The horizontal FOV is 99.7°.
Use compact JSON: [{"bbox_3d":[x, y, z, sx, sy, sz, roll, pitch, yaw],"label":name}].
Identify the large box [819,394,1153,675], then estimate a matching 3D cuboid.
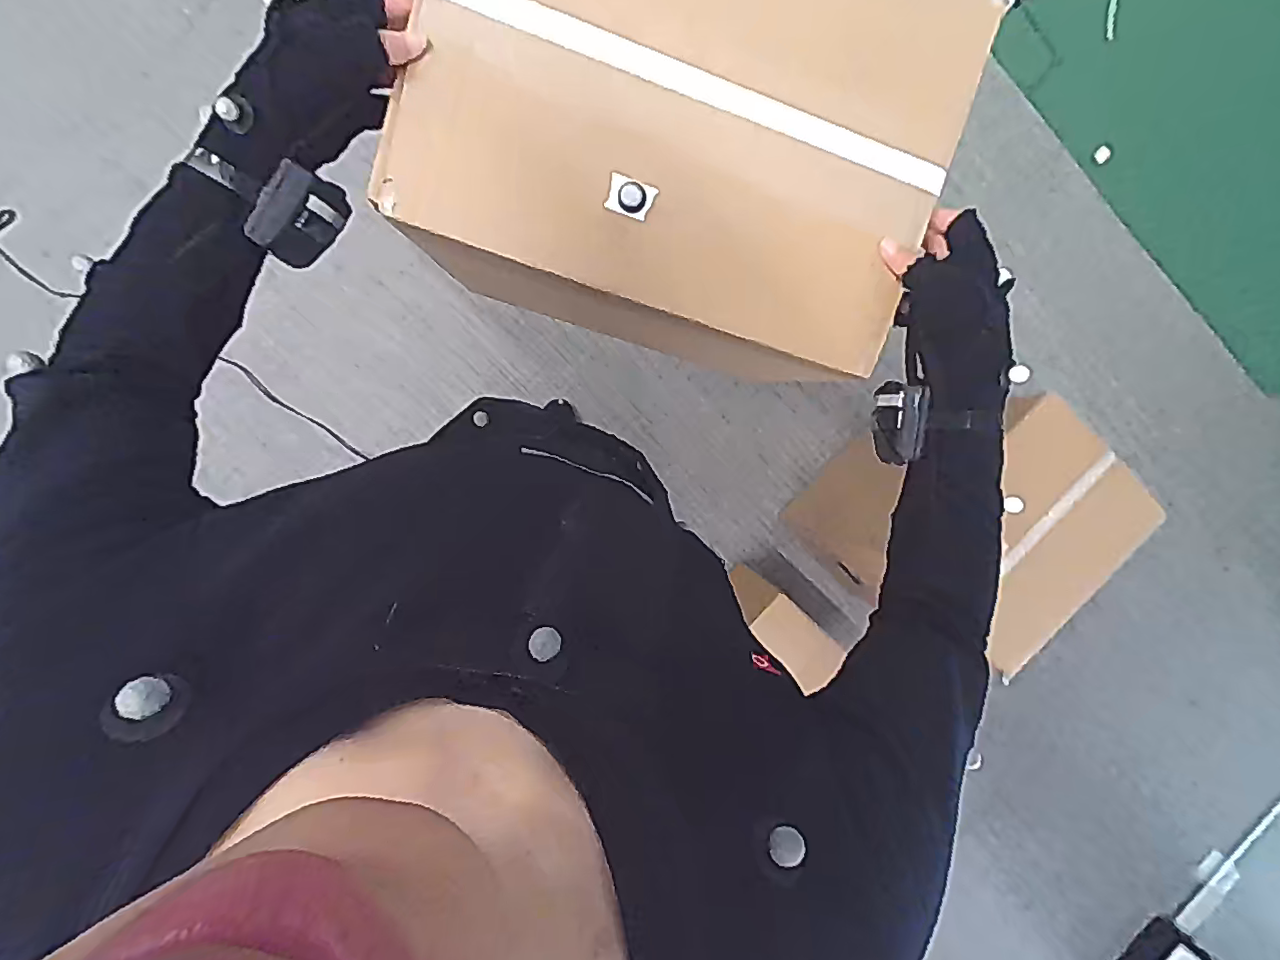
[{"bbox_3d":[0.651,0.085,1.079,0.408,0.320,0.320,-45,95,-1],"label":"large box"}]
